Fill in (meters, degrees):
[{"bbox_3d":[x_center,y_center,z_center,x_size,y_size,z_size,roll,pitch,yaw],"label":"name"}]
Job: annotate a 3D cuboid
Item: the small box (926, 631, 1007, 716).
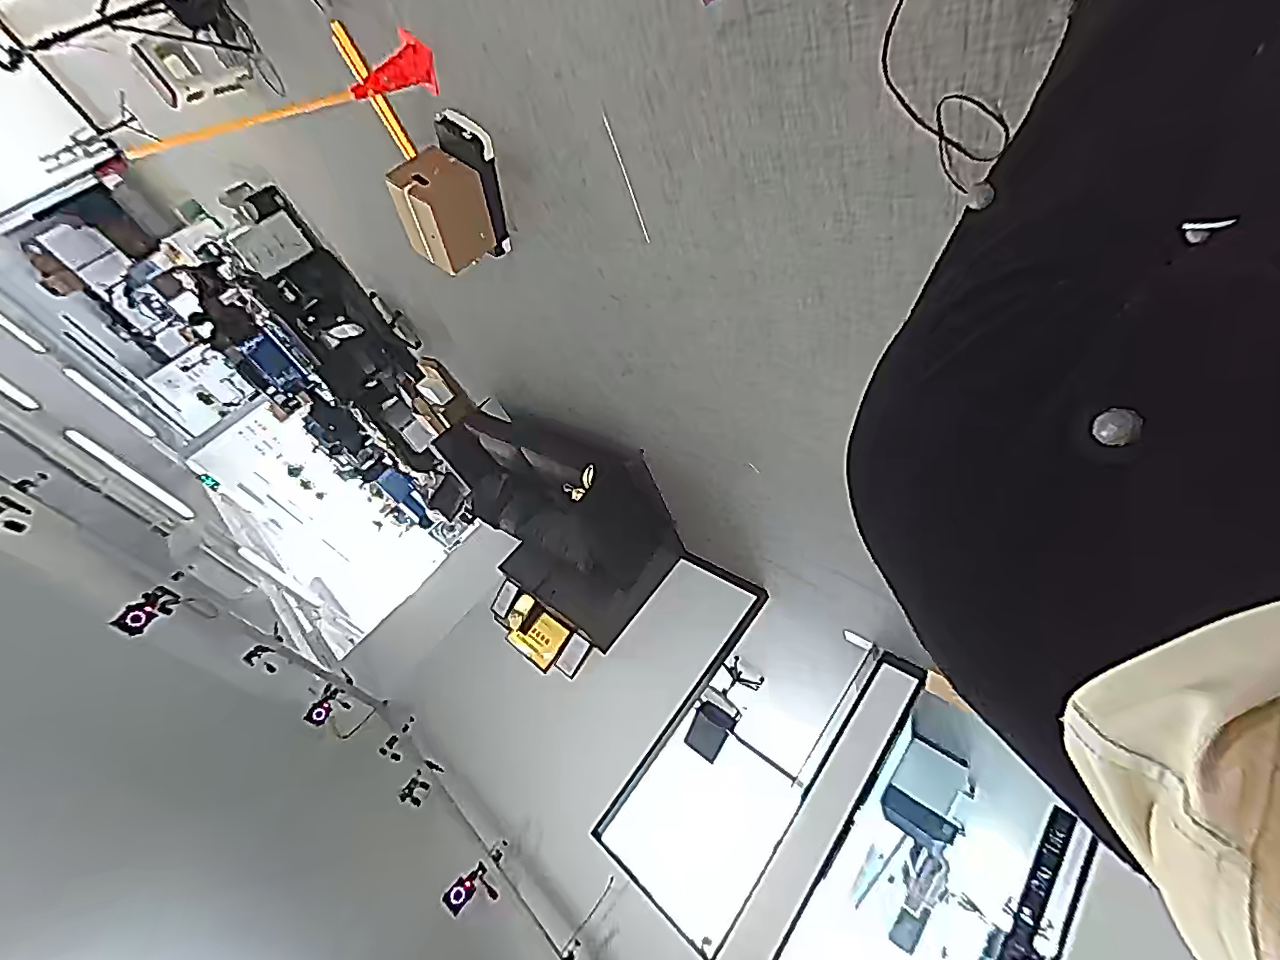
[{"bbox_3d":[1.062,0.624,1.762,0.179,0.176,0.168,25,152,38],"label":"small box"}]
